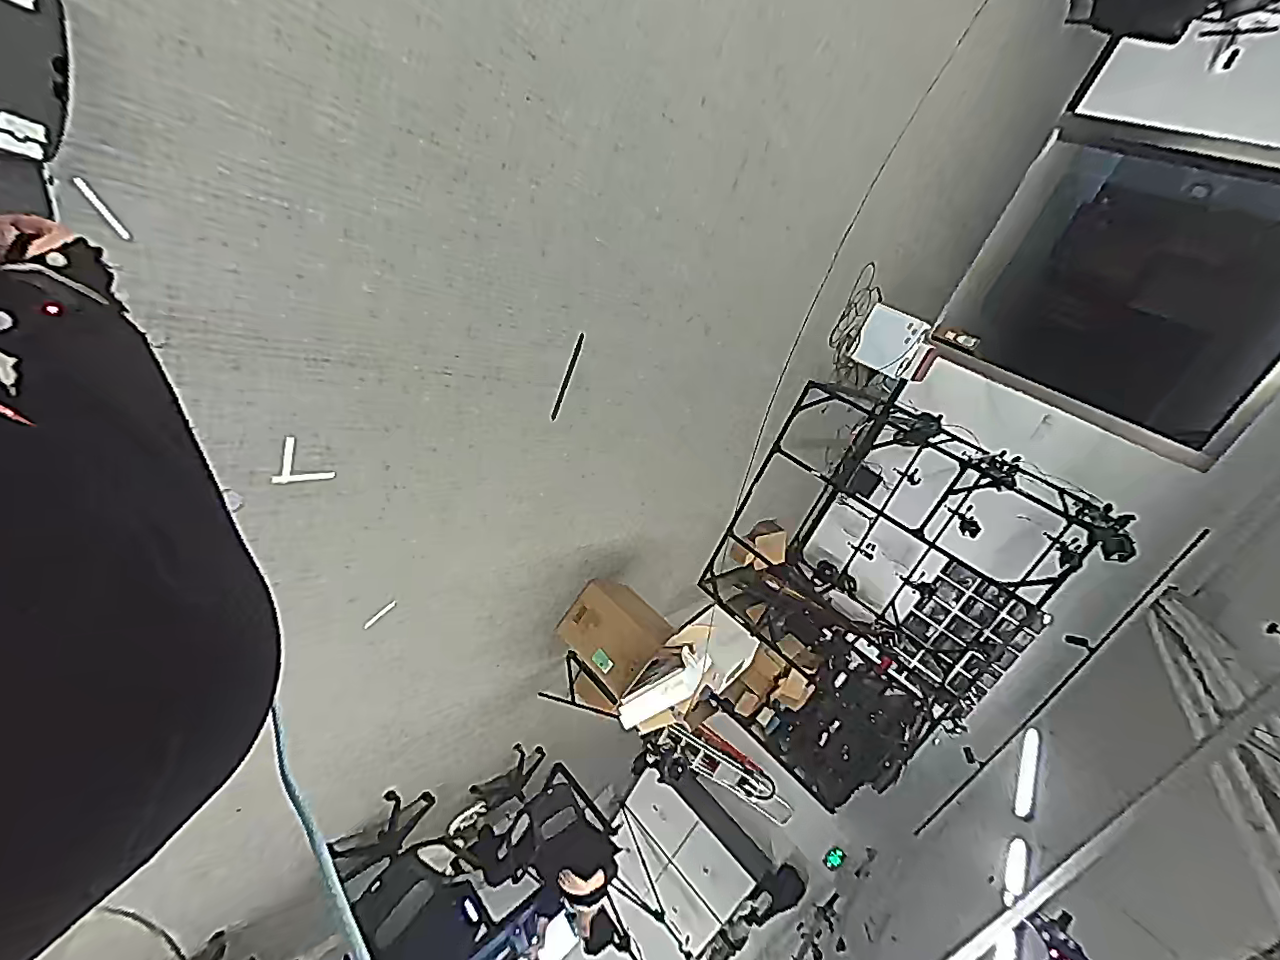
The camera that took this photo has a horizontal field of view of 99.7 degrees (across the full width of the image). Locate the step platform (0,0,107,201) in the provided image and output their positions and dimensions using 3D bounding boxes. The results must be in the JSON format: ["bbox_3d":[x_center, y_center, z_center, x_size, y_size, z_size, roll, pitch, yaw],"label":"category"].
[{"bbox_3d":[-1.134,-0.626,0.663,0.684,0.204,0.286,0,121,-56],"label":"step platform"}]
